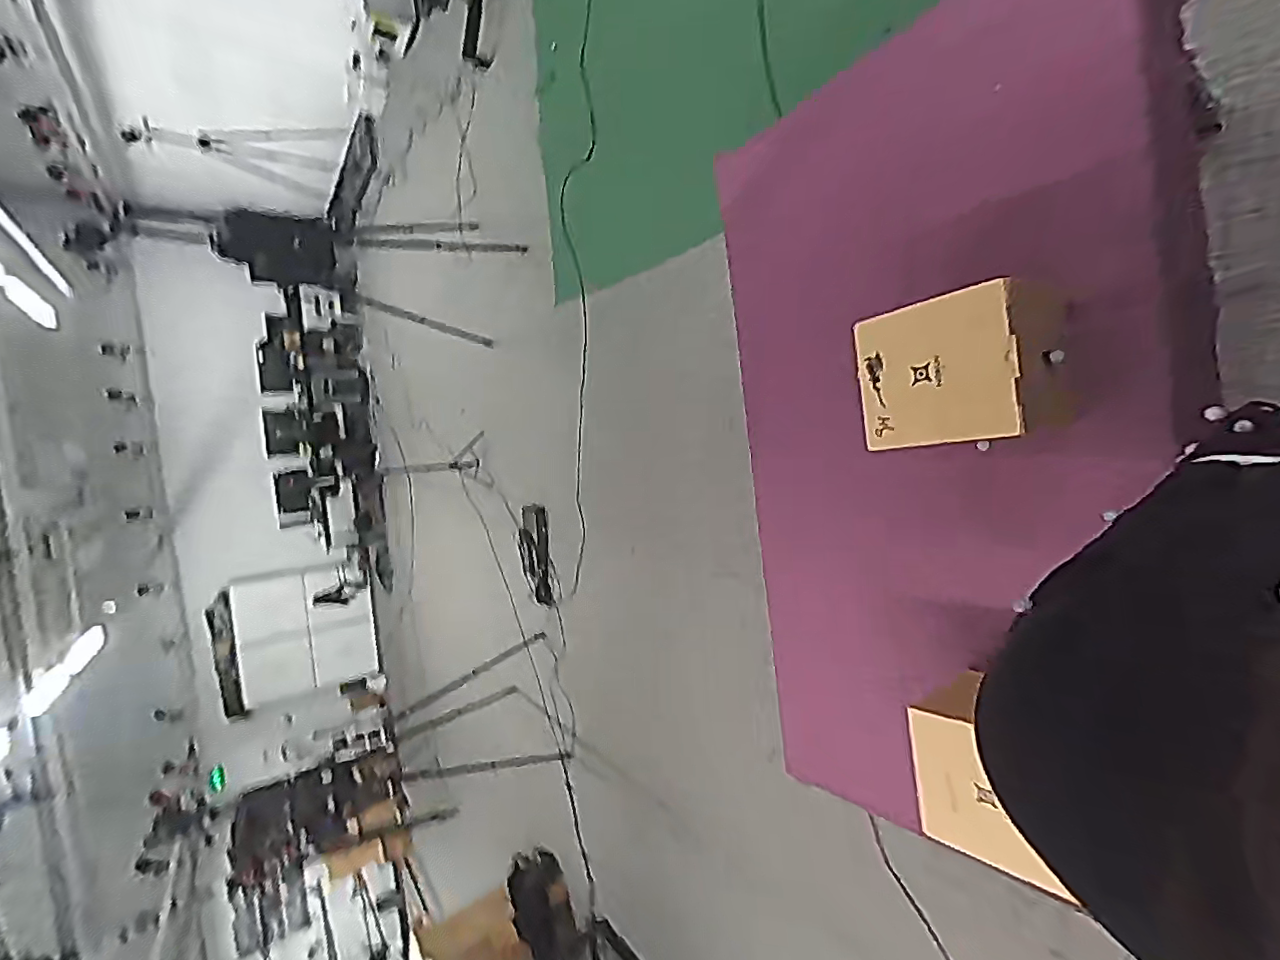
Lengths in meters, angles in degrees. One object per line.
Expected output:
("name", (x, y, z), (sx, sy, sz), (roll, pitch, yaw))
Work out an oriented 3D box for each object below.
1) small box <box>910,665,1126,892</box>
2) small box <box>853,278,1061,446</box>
("small box", (0.472, 0.347, 0.674), (0.179, 0.176, 0.168), (-7, 90, 54))
("small box", (0.398, -0.137, 0.676), (0.179, 0.176, 0.168), (-5, 93, 53))
